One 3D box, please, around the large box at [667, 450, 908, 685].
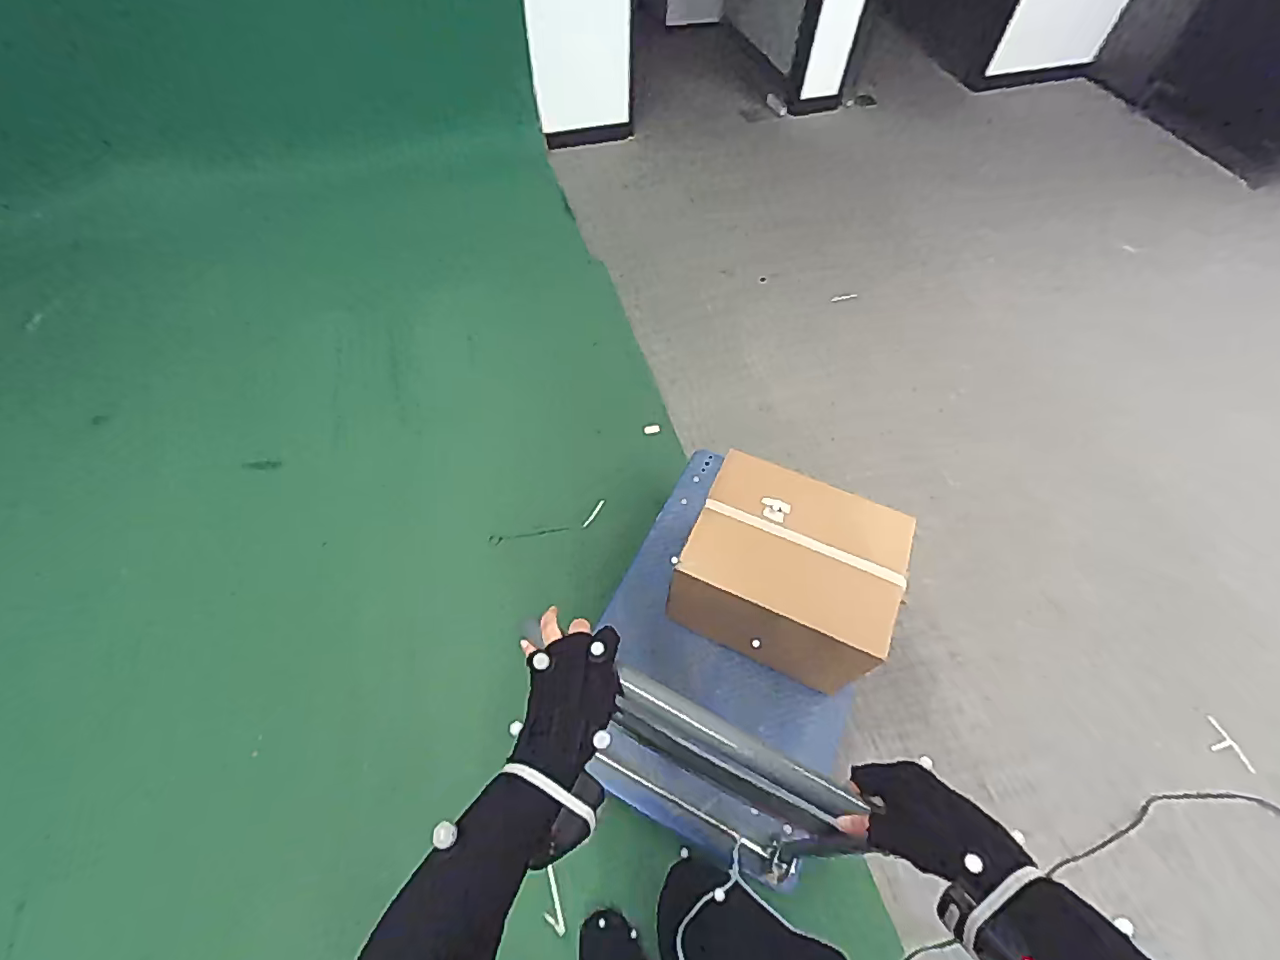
[{"bbox_3d":[0.302,0.197,1.185,0.408,0.320,0.320,22,60,13],"label":"large box"}]
